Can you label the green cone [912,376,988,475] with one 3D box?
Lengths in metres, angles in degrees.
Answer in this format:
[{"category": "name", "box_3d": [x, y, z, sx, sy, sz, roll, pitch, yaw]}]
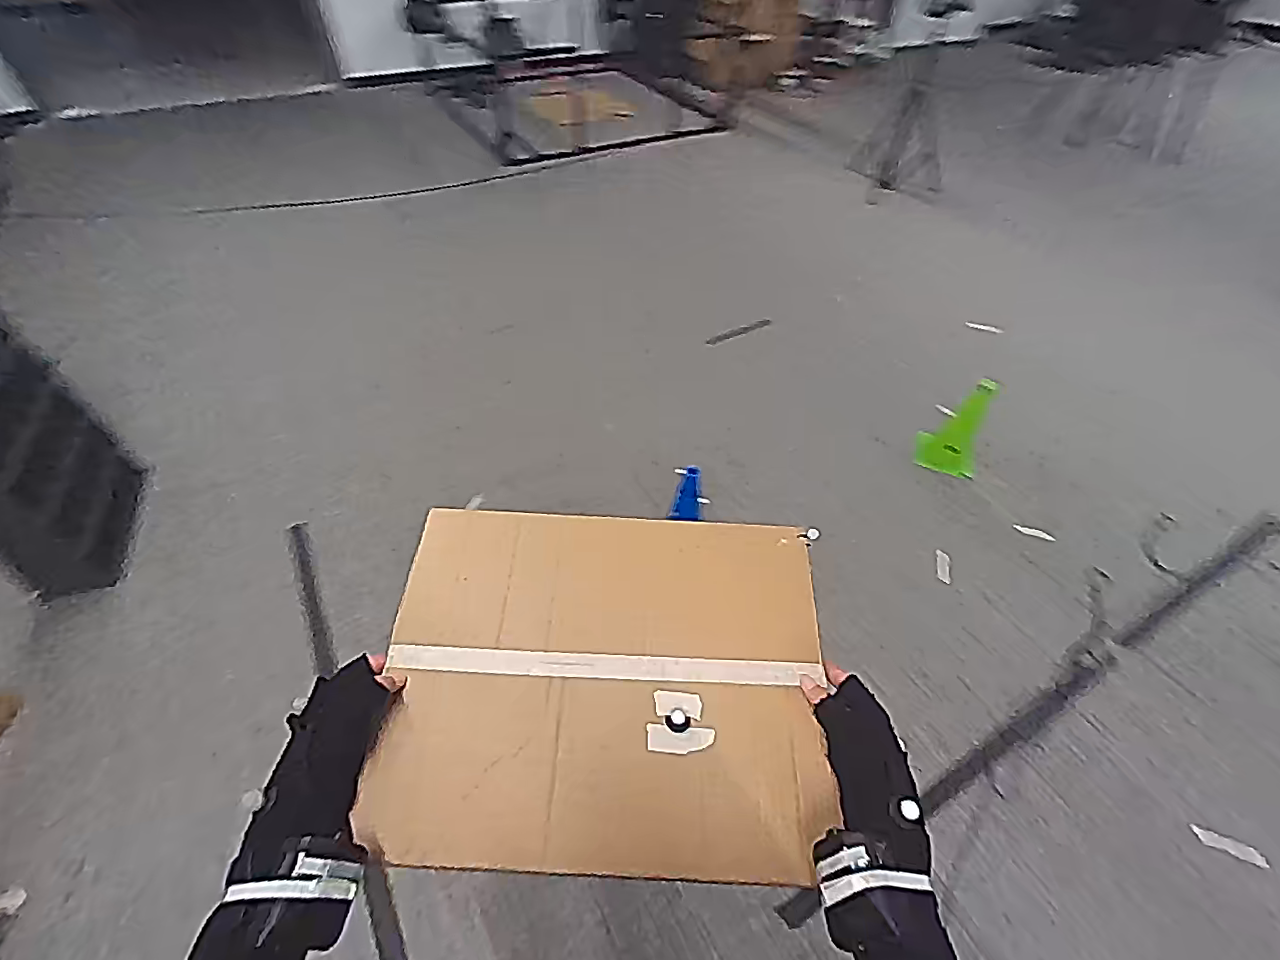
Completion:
[{"category": "green cone", "box_3d": [1.168, -0.223, 1.973, 0.202, 0.368, 0.200, 17, 50, 14]}]
